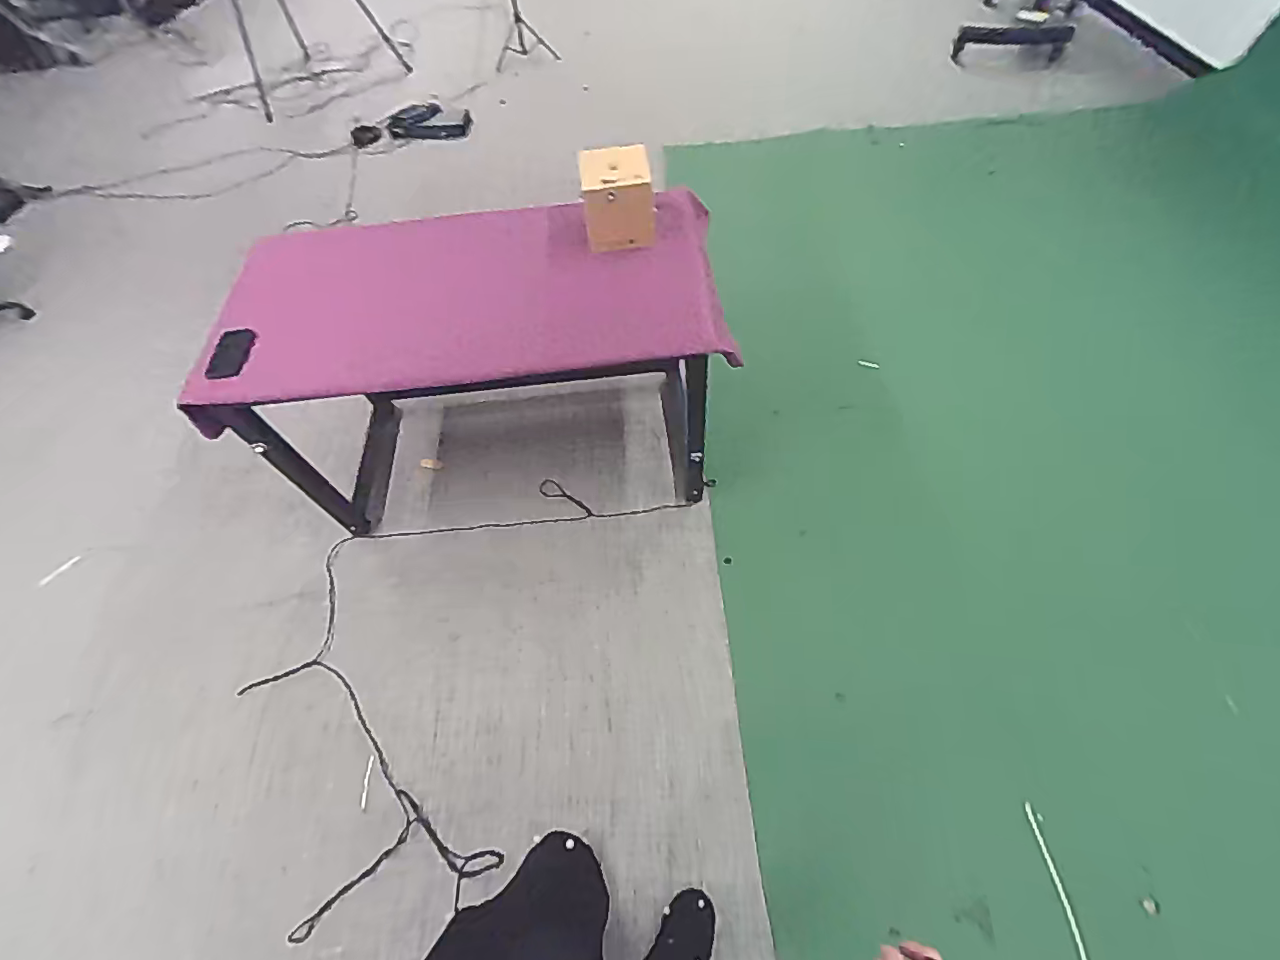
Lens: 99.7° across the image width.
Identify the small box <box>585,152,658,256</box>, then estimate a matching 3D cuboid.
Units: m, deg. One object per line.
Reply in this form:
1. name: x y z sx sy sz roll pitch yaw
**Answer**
1. small box: -0.045 -0.695 1.367 0.168 0.176 0.179 -7 57 0
